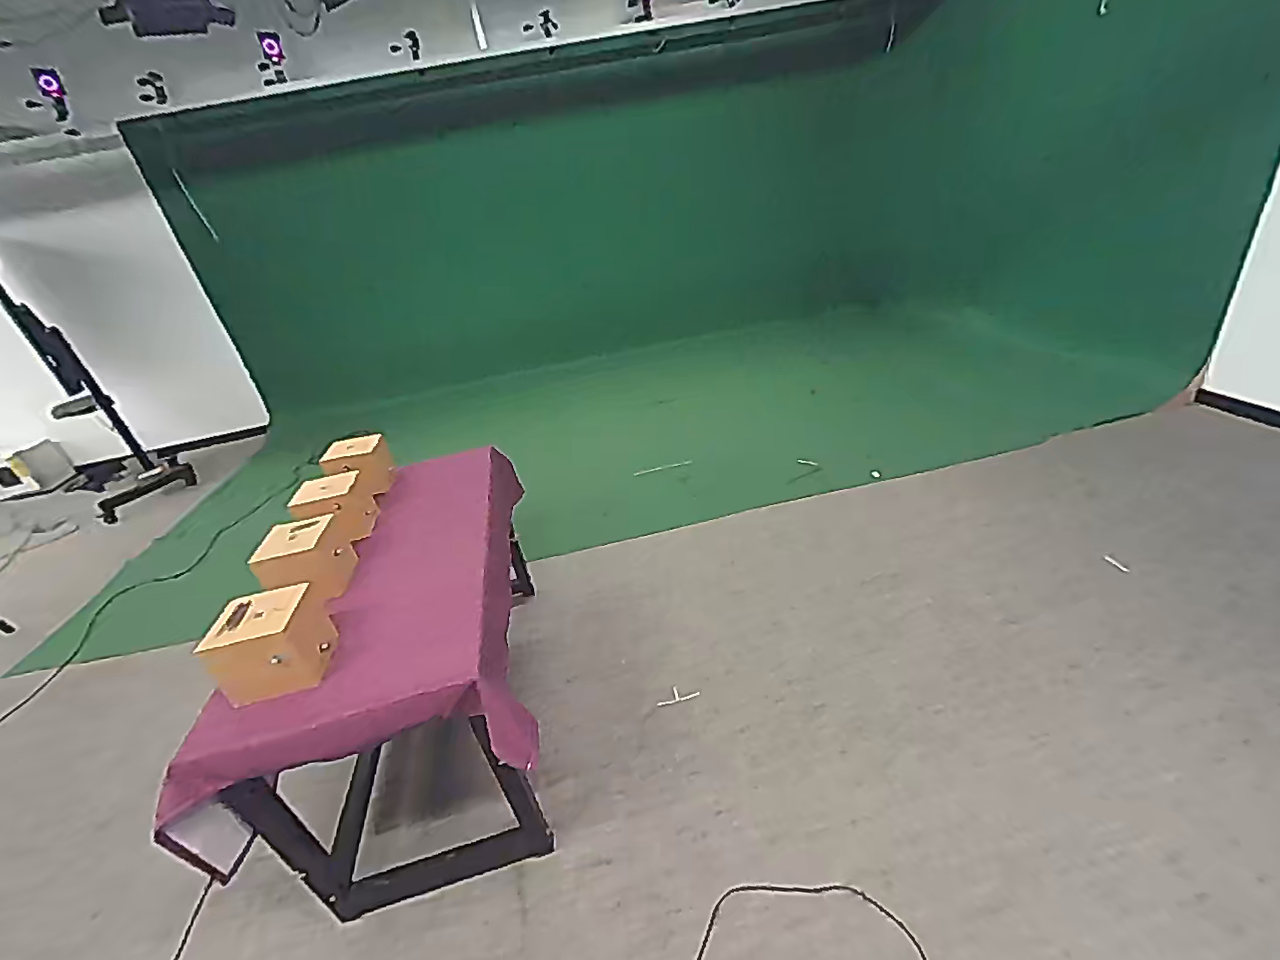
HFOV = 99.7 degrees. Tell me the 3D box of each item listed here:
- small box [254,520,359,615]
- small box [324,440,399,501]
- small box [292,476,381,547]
[{"bbox_3d":[-0.898,0.237,1.477,0.168,0.176,0.179,-13,30,-4],"label":"small box"},{"bbox_3d":[-1.009,-0.024,1.973,0.179,0.176,0.168,-11,30,-5],"label":"small box"},{"bbox_3d":[-0.958,0.113,1.724,0.179,0.176,0.168,-13,29,-7],"label":"small box"}]
